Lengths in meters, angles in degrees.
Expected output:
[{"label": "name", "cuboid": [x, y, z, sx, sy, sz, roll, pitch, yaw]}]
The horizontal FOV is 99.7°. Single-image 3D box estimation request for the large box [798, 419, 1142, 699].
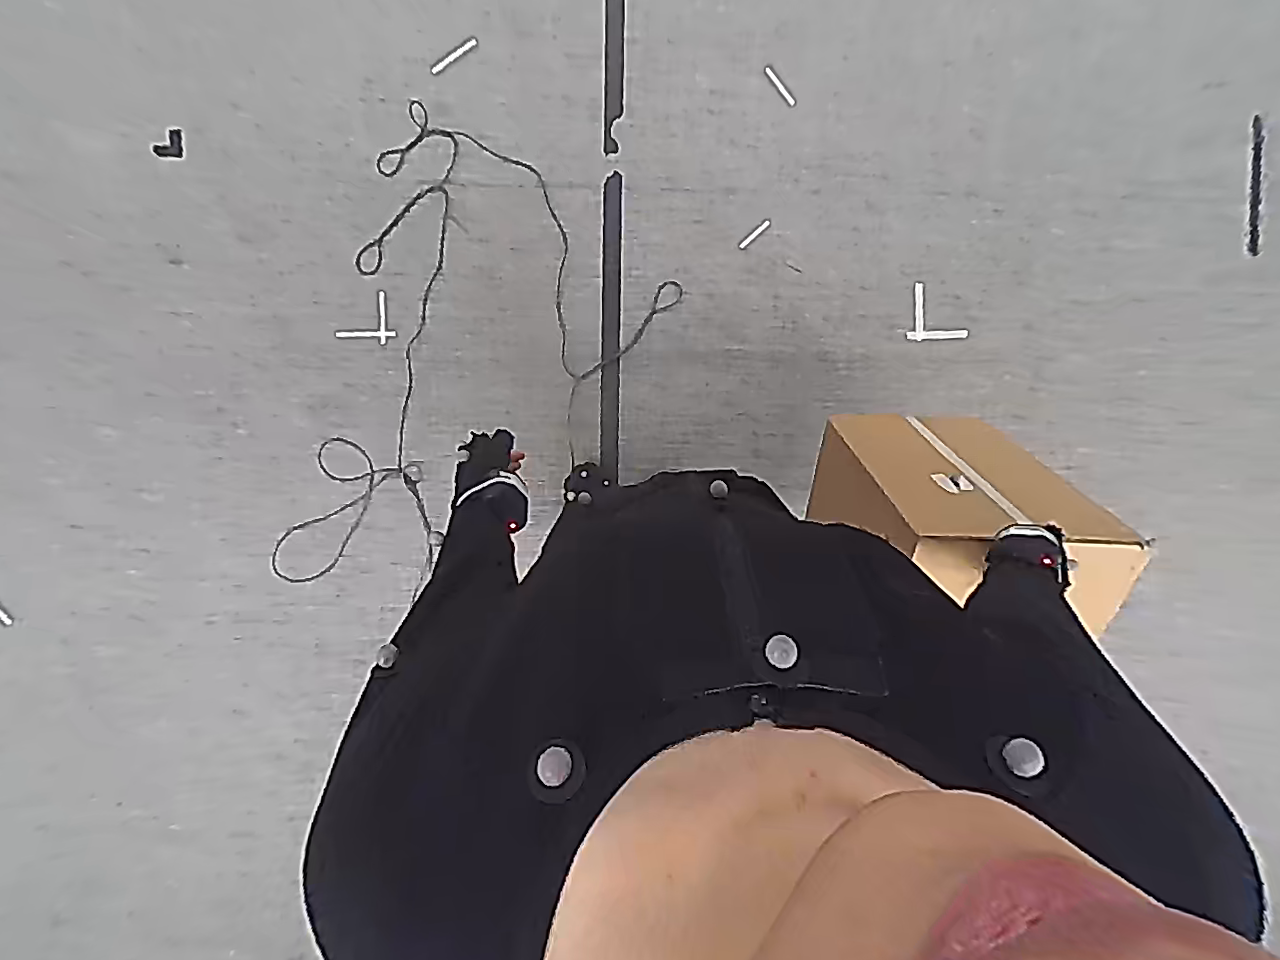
[{"label": "large box", "cuboid": [0.510, 0.119, 0.962, 0.320, 0.408, 0.320, 2, 121, -1]}]
